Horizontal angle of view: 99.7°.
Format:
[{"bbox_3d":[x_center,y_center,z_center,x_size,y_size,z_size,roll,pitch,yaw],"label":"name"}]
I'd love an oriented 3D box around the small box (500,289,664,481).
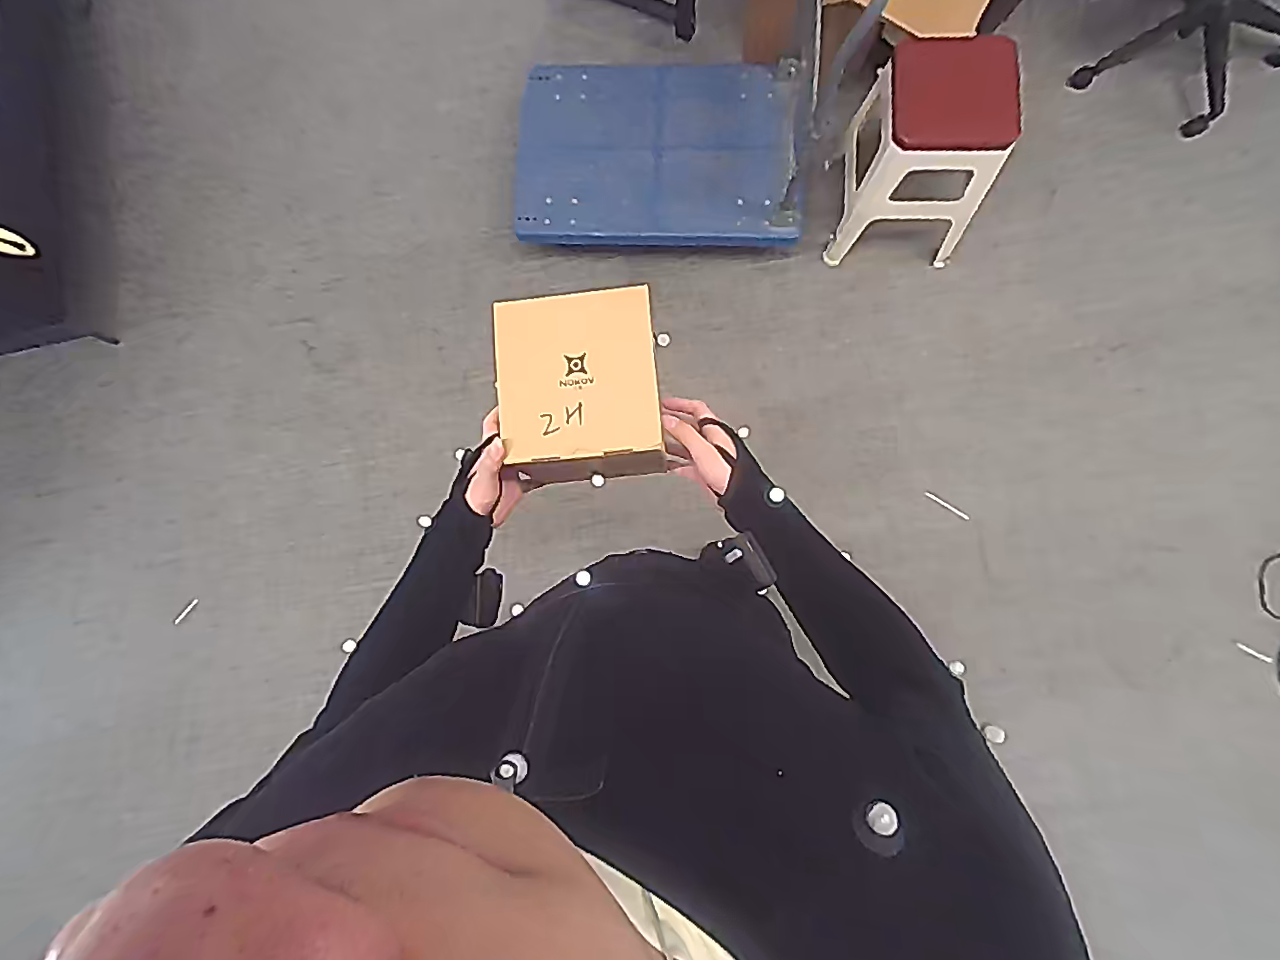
[{"bbox_3d":[-0.059,-0.100,0.642,0.168,0.176,0.179,-5,83,4],"label":"small box"}]
